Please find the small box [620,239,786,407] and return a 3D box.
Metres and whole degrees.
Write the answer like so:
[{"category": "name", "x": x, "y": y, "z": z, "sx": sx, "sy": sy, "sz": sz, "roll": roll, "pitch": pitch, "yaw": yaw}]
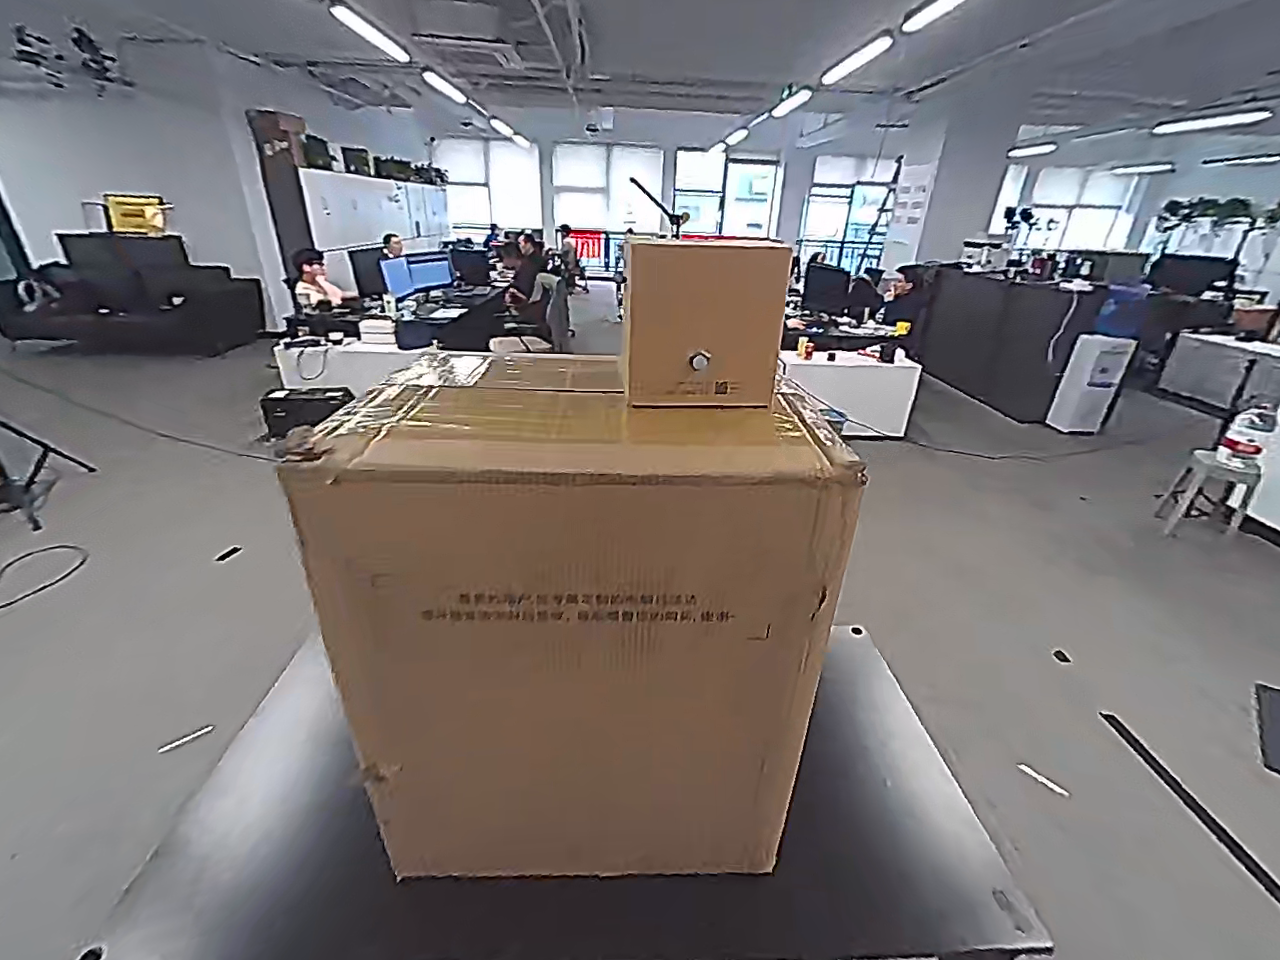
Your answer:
[{"category": "small box", "x": 0.060, "y": -0.193, "z": 0.648, "sx": 0.168, "sy": 0.176, "sz": 0.179, "roll": -1, "pitch": 26, "yaw": -4}]
